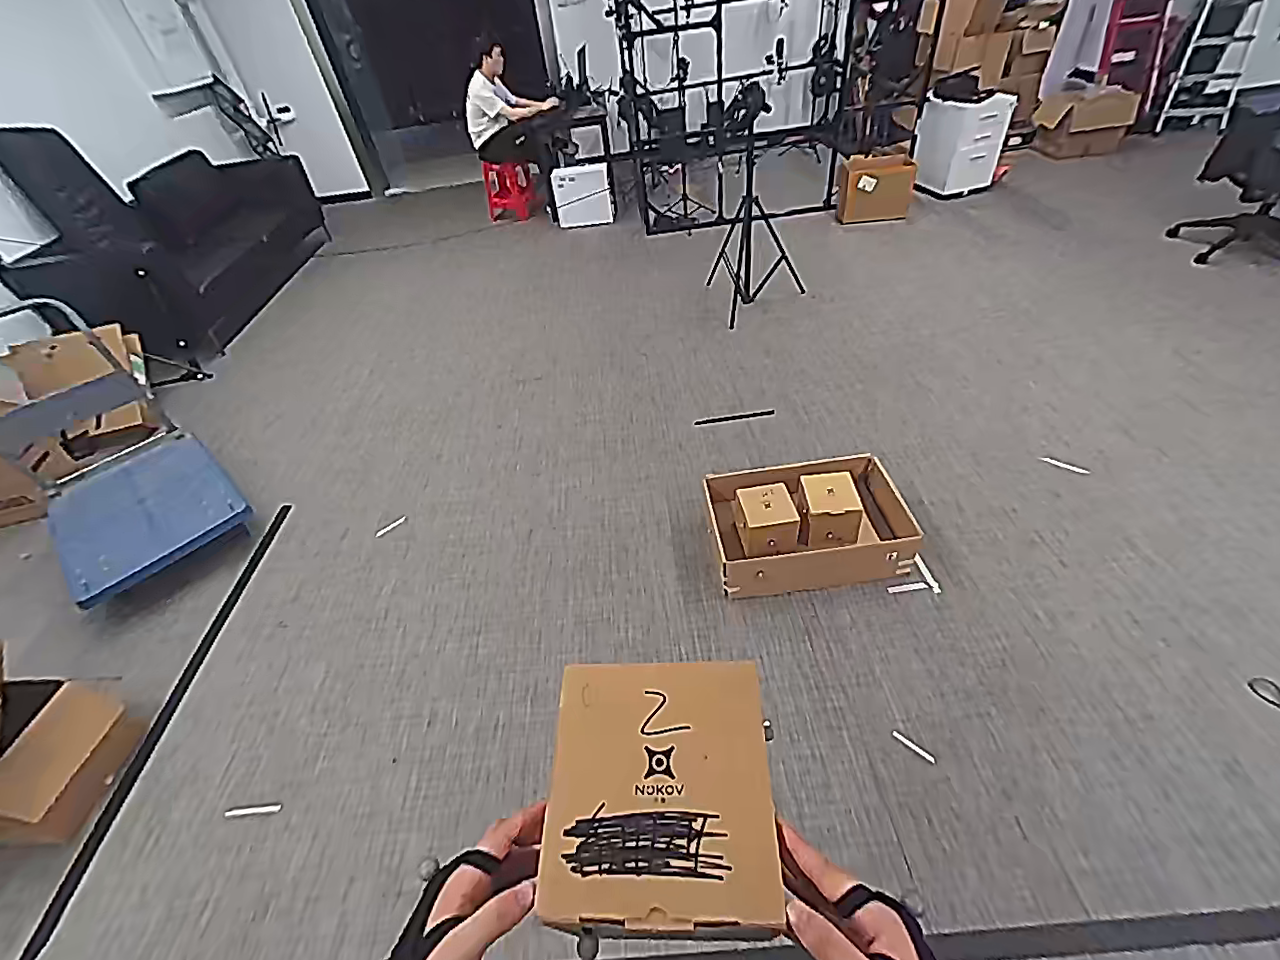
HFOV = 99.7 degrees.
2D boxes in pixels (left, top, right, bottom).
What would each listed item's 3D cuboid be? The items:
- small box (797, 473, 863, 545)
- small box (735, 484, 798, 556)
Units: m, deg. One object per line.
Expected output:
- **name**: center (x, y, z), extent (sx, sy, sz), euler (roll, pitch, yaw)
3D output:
- **small box**: center (0.632, 0.099, 1.825), extent (0.168, 0.176, 0.179), euler (-5, 44, 5)
- **small box**: center (0.419, 0.140, 1.812), extent (0.168, 0.176, 0.179), euler (-8, 43, -2)
